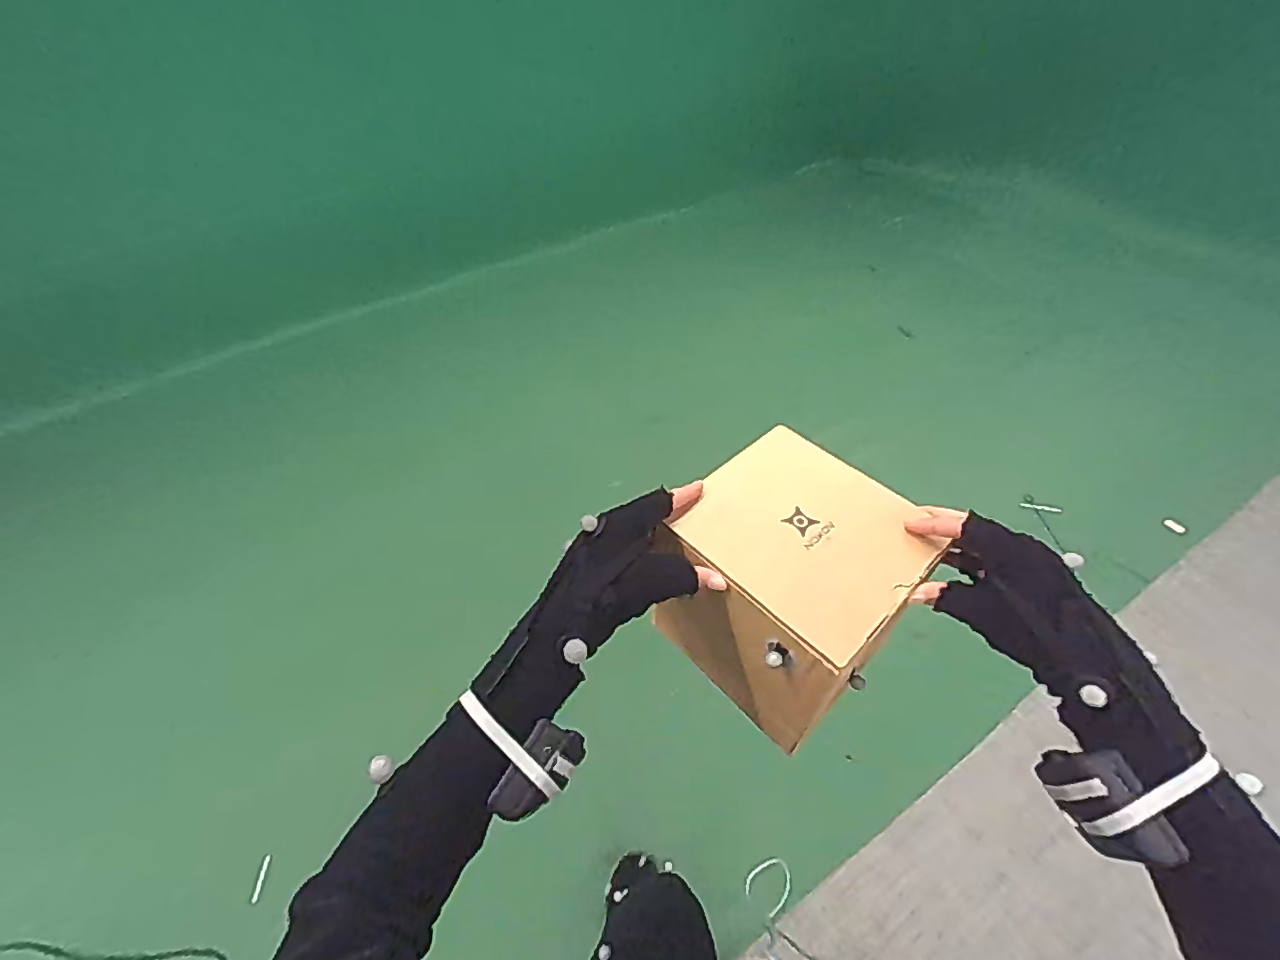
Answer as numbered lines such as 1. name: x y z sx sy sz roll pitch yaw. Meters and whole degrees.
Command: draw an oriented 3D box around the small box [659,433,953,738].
1. small box: 0.131 0.094 0.492 0.168 0.176 0.179 -34 56 -28
